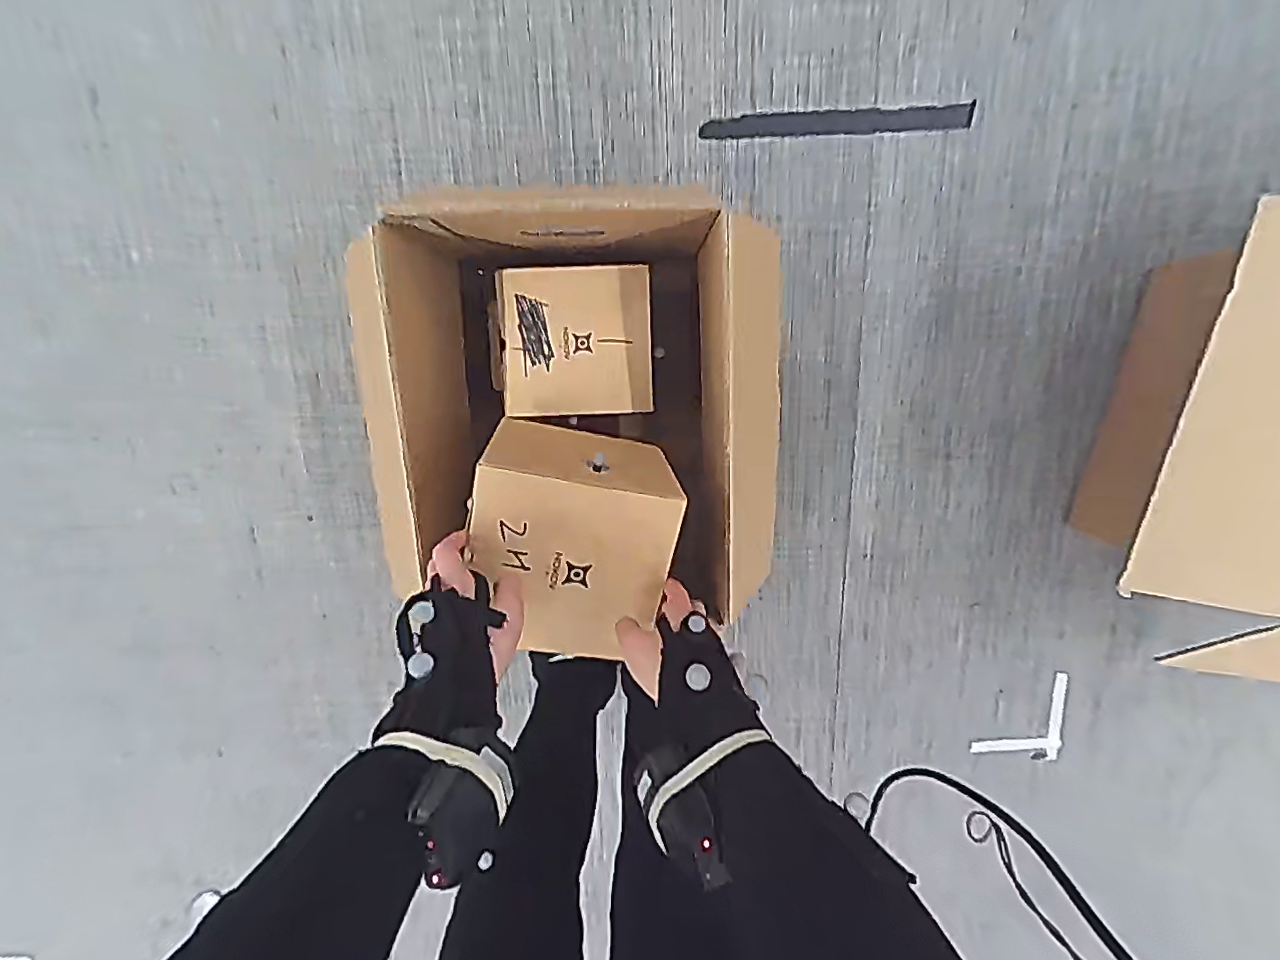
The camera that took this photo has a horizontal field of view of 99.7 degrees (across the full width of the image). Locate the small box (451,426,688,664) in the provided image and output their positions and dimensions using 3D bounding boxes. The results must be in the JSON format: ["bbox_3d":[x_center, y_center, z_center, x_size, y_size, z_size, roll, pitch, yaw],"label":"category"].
[{"bbox_3d":[-0.071,0.054,0.533,0.179,0.176,0.168,11,106,-10],"label":"small box"}]
